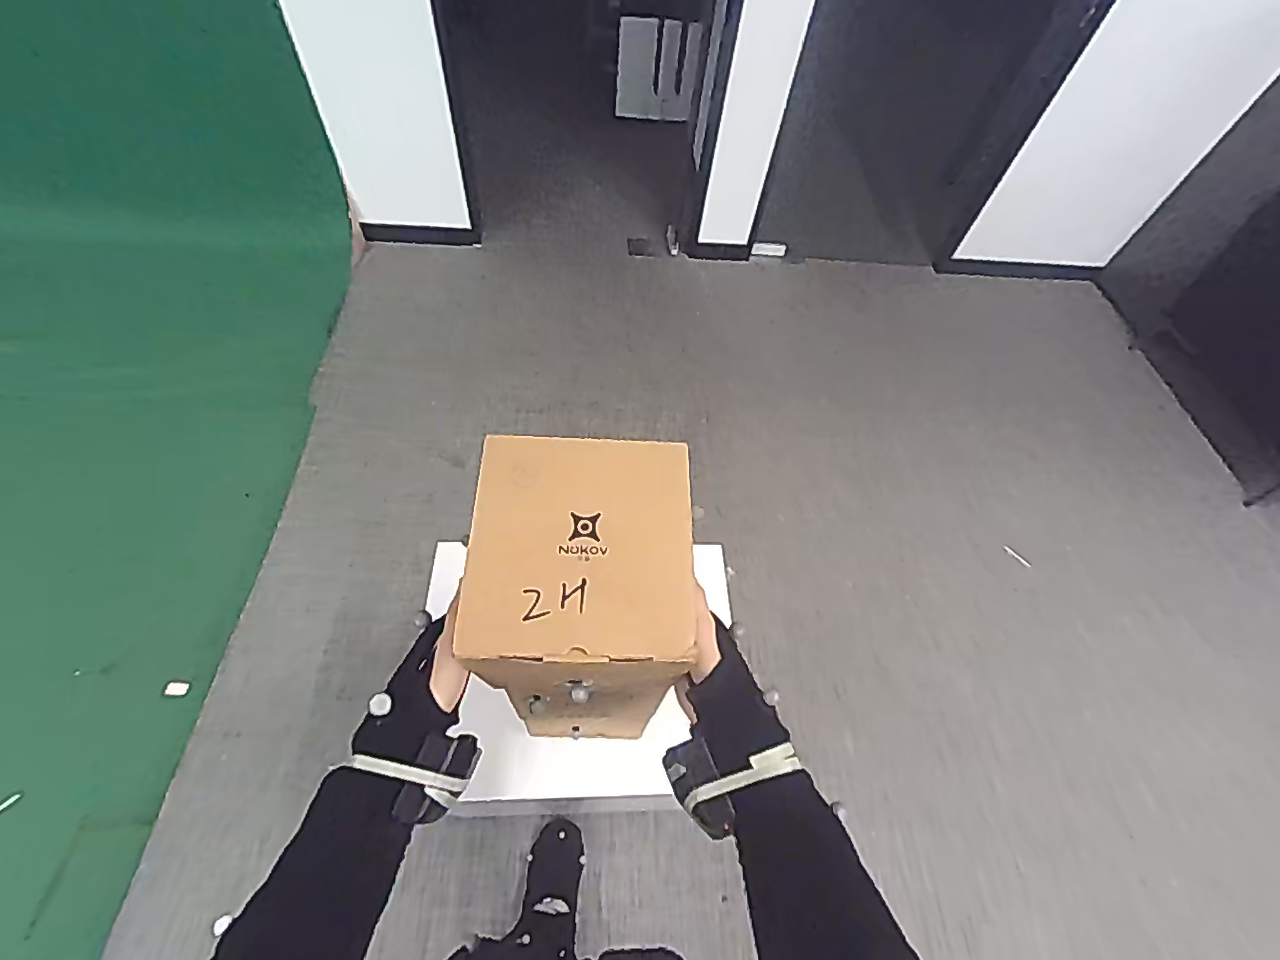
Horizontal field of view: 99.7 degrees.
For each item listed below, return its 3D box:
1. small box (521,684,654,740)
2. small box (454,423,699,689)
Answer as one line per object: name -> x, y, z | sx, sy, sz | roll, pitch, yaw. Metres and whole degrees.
small box -> -0.071, 0.257, 0.767 | 0.168, 0.176, 0.179 | 3, 55, -4
small box -> -0.047, 0.073, 0.467 | 0.168, 0.176, 0.179 | 2, 60, -4
